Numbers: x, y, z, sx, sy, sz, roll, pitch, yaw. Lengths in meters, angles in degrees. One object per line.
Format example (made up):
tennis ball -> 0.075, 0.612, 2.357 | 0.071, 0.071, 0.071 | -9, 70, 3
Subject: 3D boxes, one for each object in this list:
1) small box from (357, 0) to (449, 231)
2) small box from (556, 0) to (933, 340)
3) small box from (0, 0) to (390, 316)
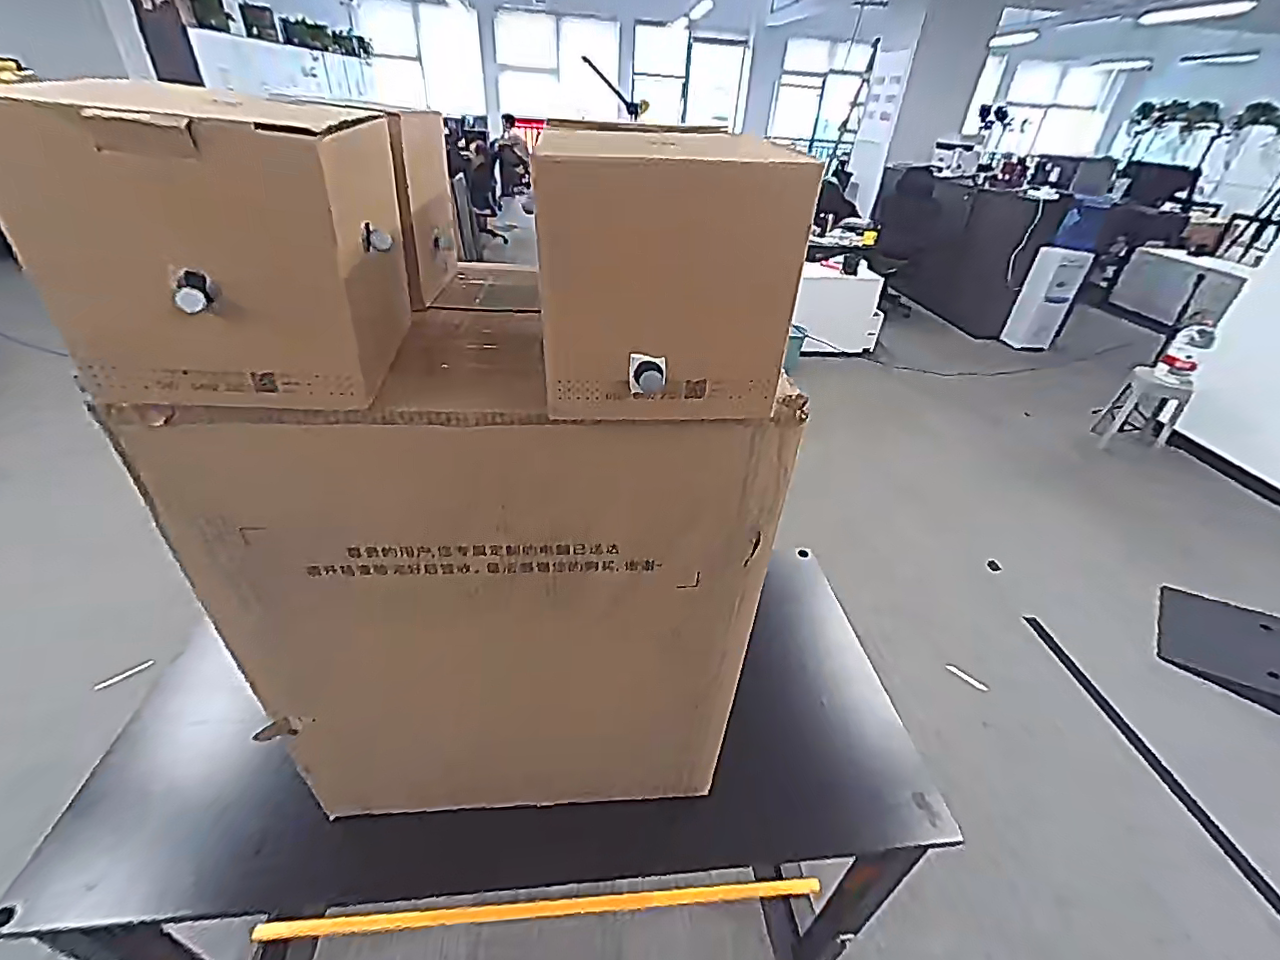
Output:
small box -> -0.278, -0.319, 0.465 | 0.179, 0.176, 0.168 | 2, 34, -7
small box -> 0.034, -0.197, 0.332 | 0.168, 0.176, 0.179 | -3, 38, -6
small box -> -0.249, -0.202, 0.300 | 0.168, 0.176, 0.179 | 0, 38, -13
